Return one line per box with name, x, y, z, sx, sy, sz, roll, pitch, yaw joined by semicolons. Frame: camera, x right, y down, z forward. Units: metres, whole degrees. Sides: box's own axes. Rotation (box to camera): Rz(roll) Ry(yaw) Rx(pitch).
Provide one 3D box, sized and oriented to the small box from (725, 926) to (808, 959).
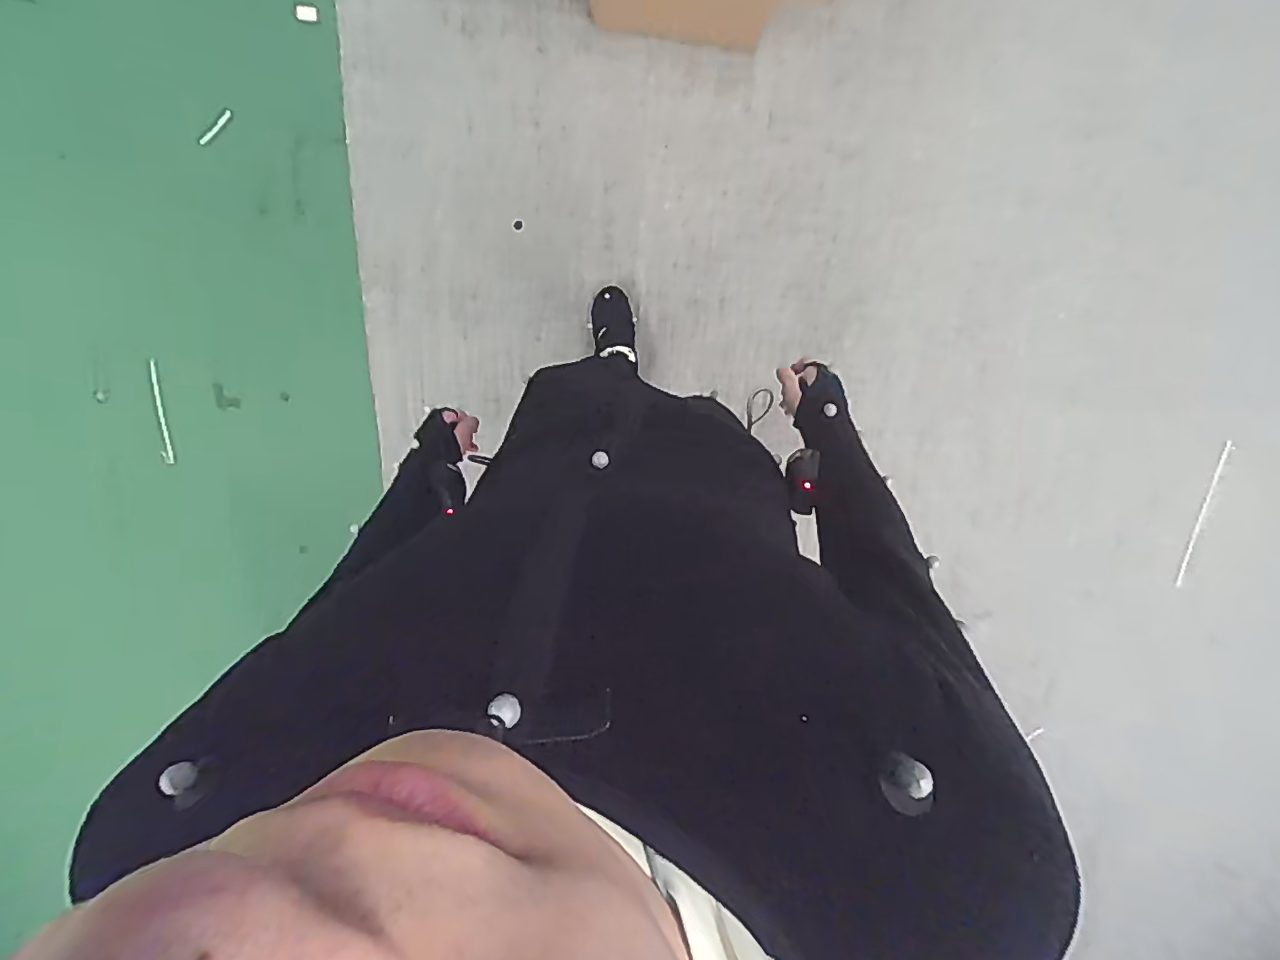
small box;0.266;1.067;1.105;0.168;0.176;0.179;2;106;1
